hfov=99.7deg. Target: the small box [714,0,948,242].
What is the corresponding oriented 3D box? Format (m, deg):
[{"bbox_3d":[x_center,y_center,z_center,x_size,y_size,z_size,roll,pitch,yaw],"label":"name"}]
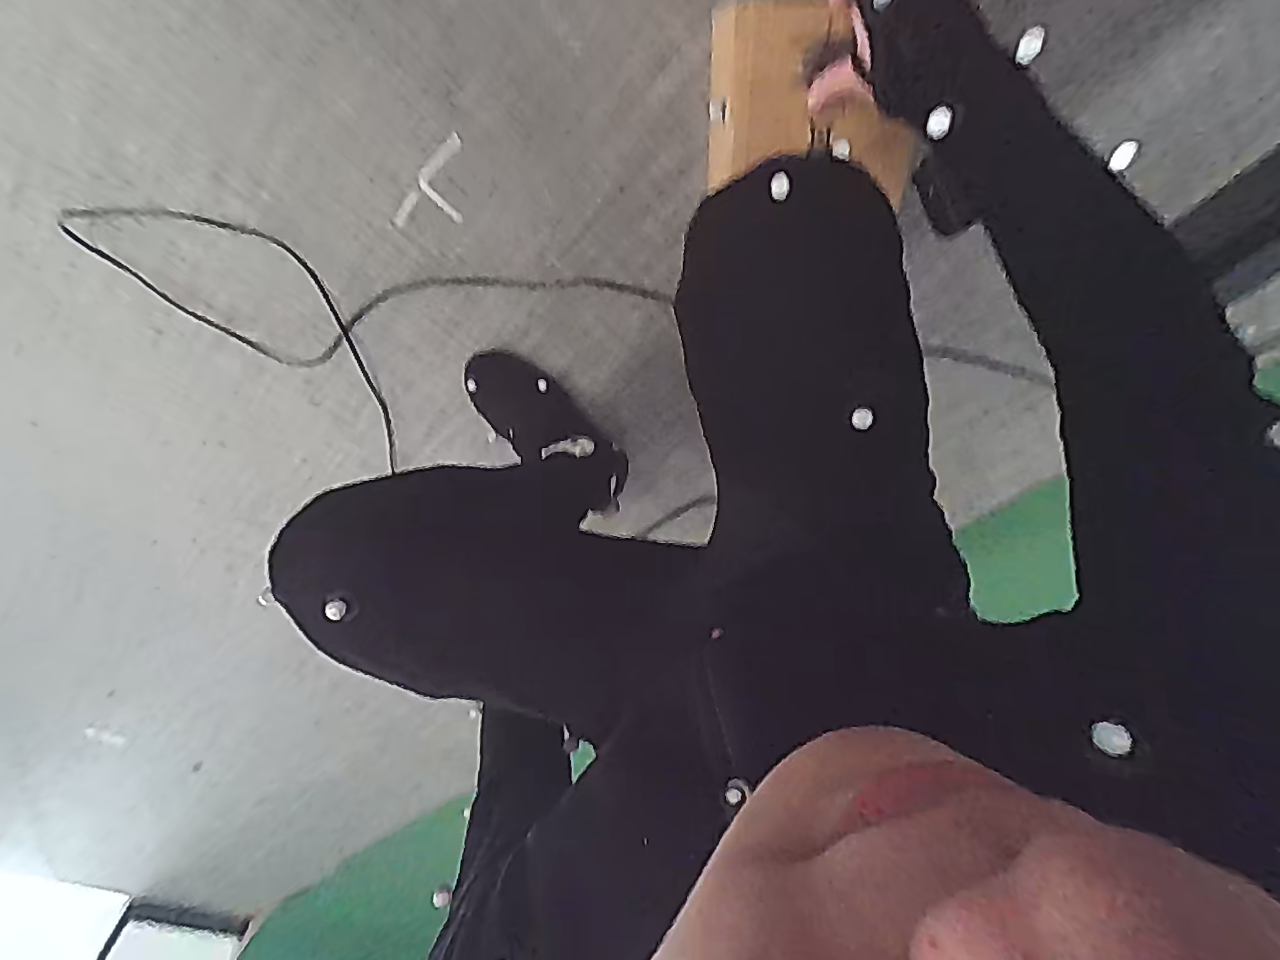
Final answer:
[{"bbox_3d":[0.164,-0.351,0.535,0.168,0.176,0.179,-2,128,3],"label":"small box"}]
